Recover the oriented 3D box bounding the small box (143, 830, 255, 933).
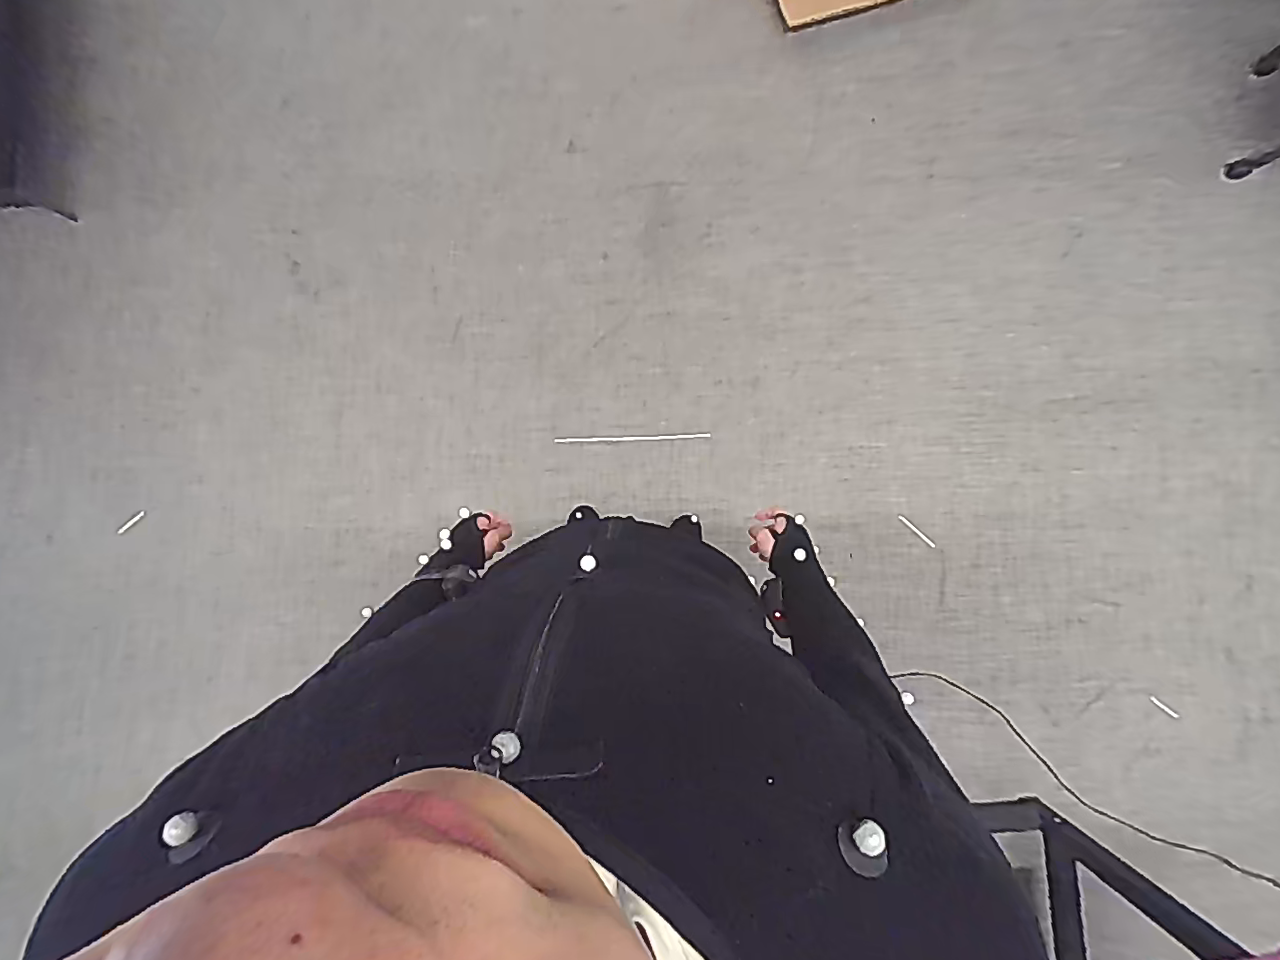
[{"bbox_3d":[-1.203,1.096,1.487,0.179,0.176,0.168,2,86,0],"label":"small box"}]
